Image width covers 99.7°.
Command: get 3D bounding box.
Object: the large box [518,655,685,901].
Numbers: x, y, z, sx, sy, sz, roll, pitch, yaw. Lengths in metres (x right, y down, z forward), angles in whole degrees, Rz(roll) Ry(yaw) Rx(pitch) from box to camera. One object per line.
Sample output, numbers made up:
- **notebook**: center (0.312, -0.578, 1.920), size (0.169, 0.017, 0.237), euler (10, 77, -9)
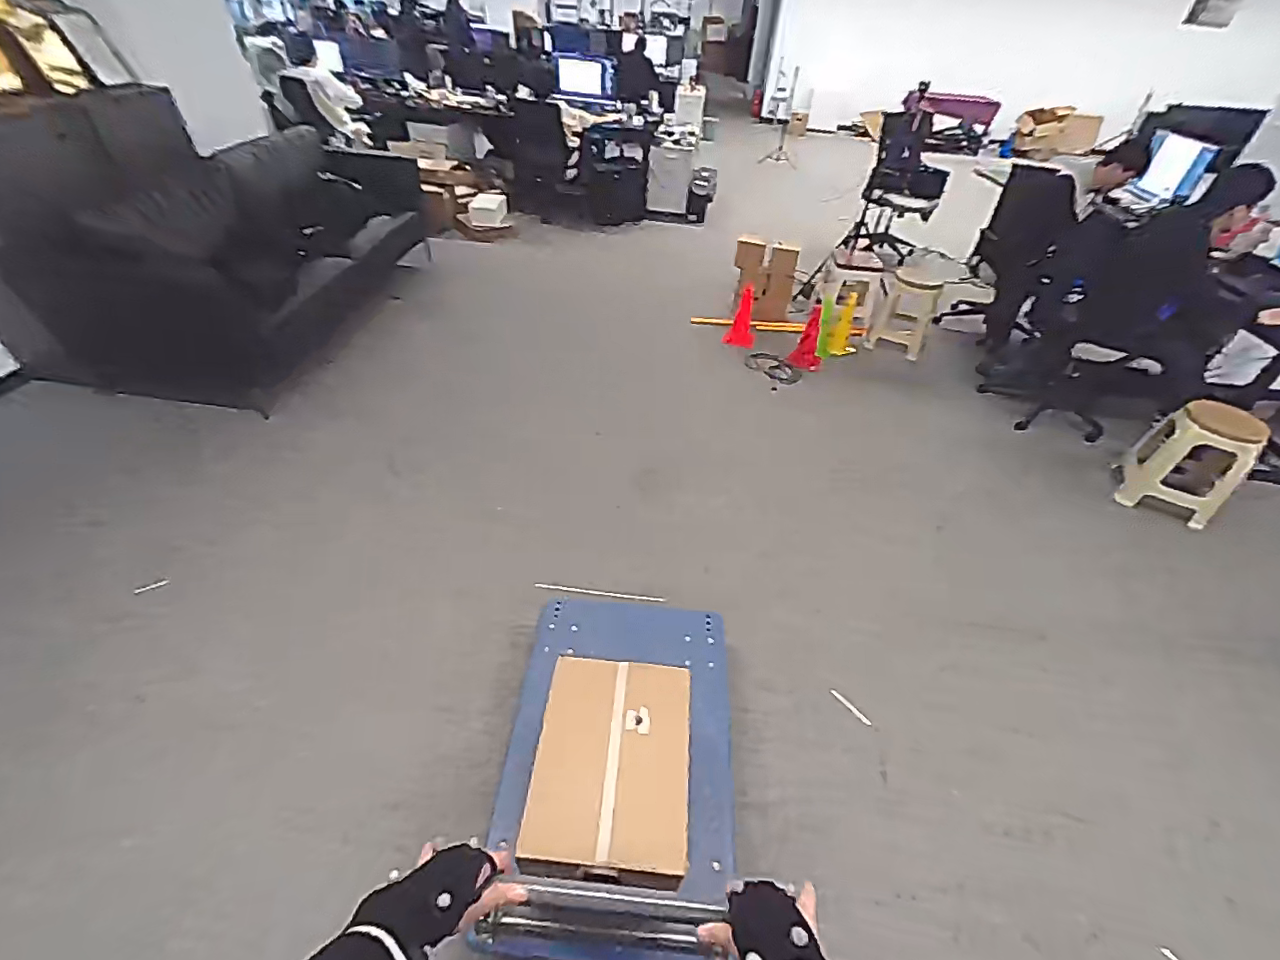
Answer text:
- **large box**: center (-0.069, 0.670, 1.232), size (0.320, 0.320, 0.408), euler (6, 41, 1)
